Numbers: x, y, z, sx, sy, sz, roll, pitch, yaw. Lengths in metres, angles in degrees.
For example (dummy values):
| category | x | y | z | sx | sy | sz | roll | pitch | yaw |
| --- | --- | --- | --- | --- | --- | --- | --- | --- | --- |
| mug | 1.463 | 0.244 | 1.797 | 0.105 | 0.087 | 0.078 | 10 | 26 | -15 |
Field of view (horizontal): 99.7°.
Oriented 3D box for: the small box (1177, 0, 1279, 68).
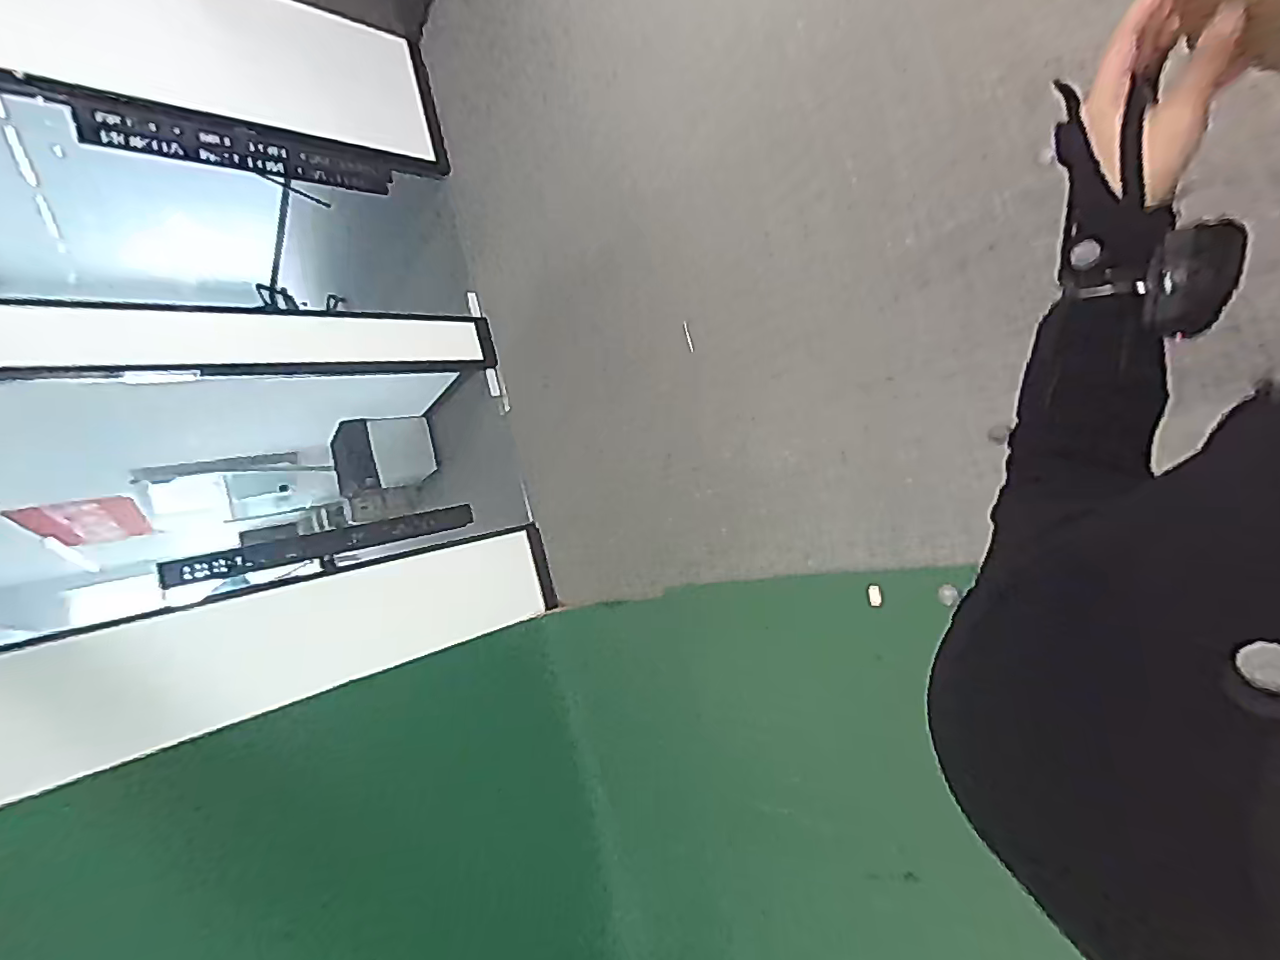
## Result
| category | x | y | z | sx | sy | sz | roll | pitch | yaw |
| --- | --- | --- | --- | --- | --- | --- | --- | --- | --- |
| small box | 0.378 | -0.289 | 0.224 | 0.168 | 0.176 | 0.179 | 53 | 131 | 34 |
